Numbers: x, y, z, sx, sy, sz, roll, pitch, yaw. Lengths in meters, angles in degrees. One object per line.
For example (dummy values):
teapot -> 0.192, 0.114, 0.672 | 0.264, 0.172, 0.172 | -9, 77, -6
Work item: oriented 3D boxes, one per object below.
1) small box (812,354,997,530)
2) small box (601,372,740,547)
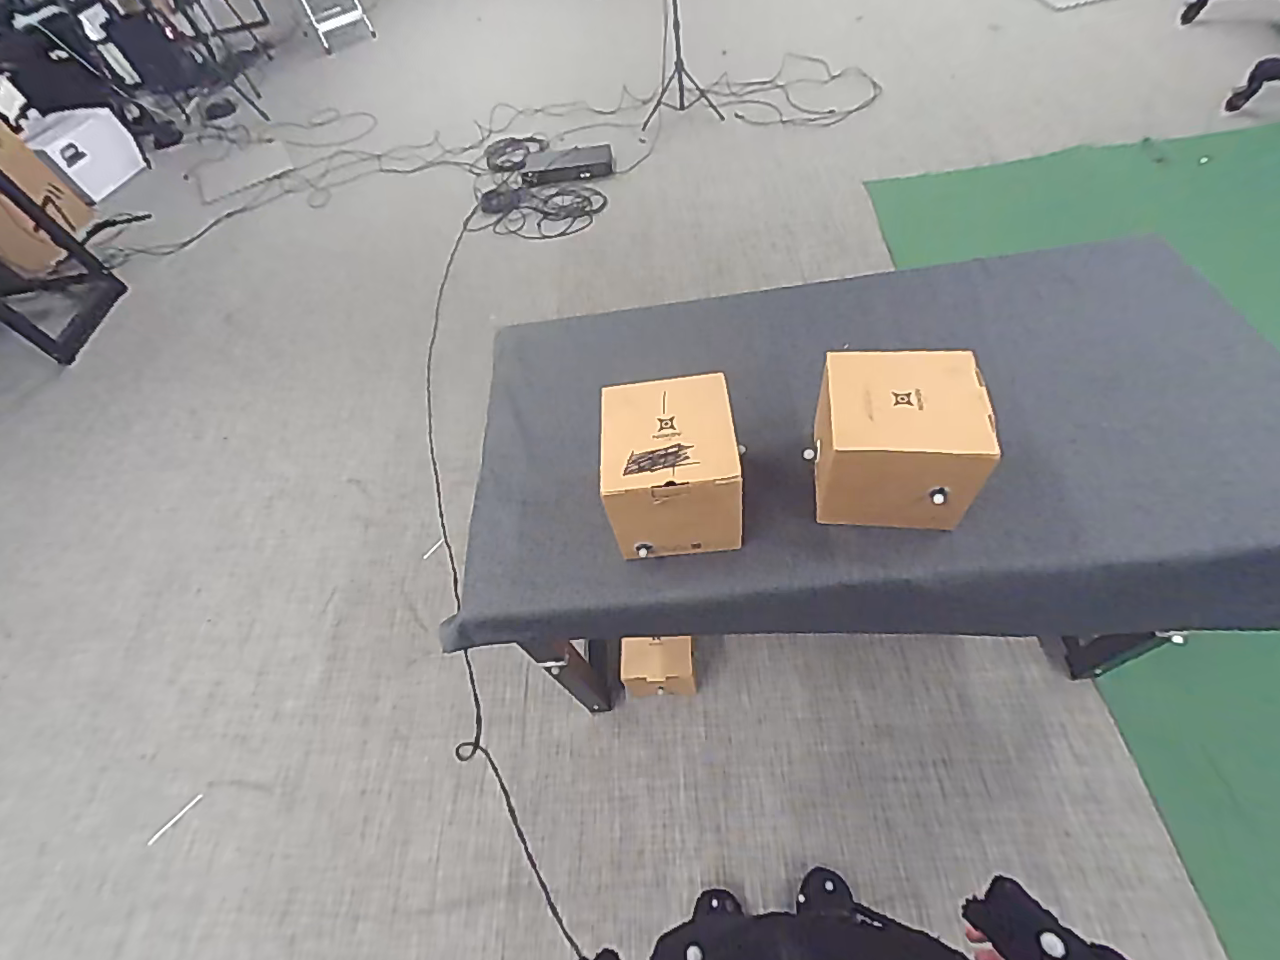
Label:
small box -> 0.330, -0.046, 0.714 | 0.179, 0.176, 0.168 | 2, 56, 12
small box -> 0.046, -0.019, 0.737 | 0.168, 0.176, 0.179 | -5, 54, 6
